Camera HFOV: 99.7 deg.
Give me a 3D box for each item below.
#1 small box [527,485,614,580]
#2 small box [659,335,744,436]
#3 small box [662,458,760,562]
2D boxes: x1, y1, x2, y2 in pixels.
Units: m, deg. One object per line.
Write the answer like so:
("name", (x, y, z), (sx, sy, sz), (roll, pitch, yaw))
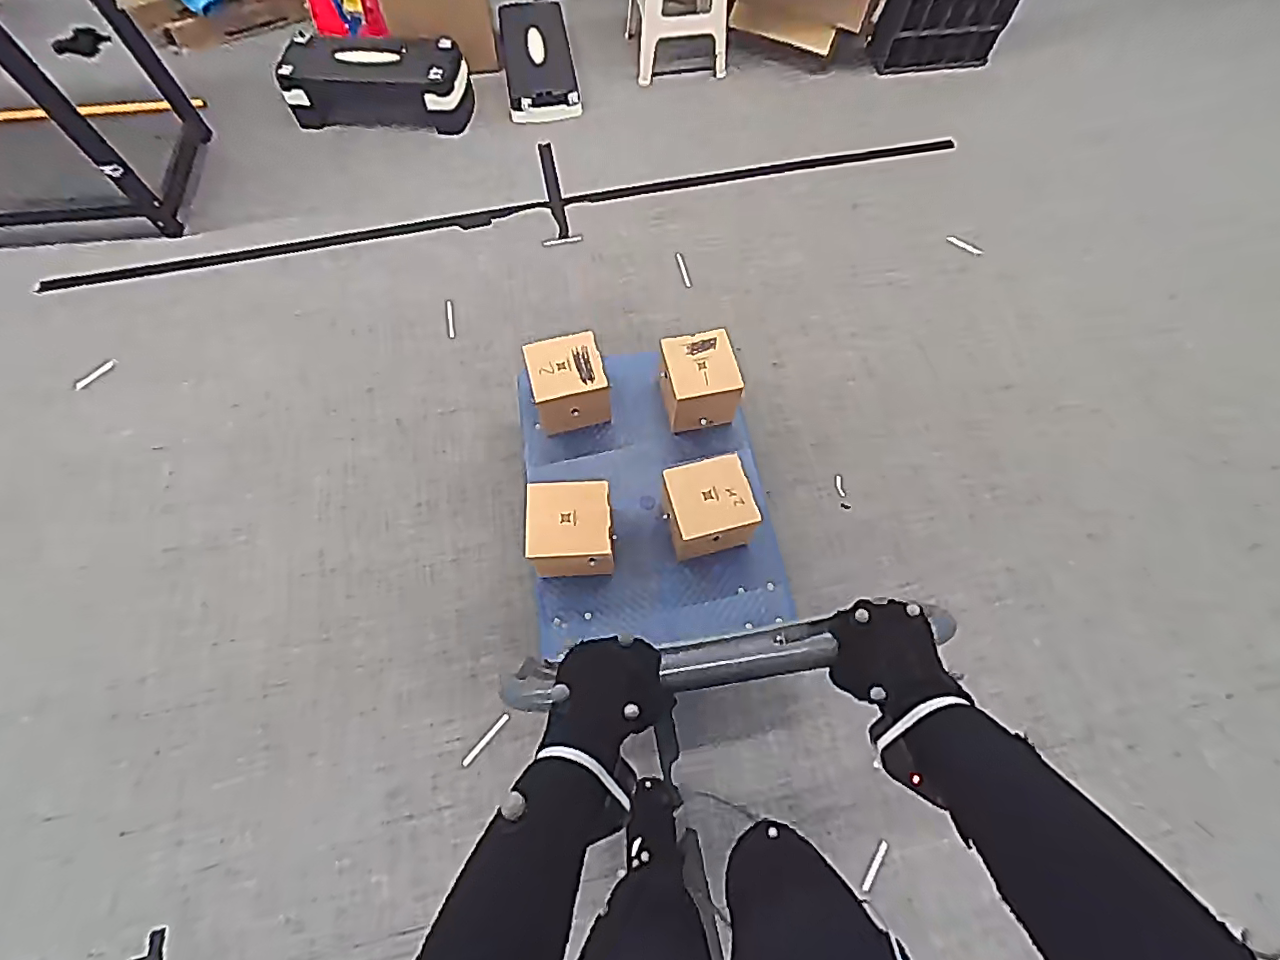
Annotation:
("small box", (-0.150, 0.122, 1.206), (0.179, 0.176, 0.168), (-3, 66, -4))
("small box", (0.145, -0.235, 1.364), (0.168, 0.176, 0.179), (-11, 68, -5))
("small box", (0.152, 0.075, 1.230), (0.179, 0.176, 0.168), (-13, 68, -6))
